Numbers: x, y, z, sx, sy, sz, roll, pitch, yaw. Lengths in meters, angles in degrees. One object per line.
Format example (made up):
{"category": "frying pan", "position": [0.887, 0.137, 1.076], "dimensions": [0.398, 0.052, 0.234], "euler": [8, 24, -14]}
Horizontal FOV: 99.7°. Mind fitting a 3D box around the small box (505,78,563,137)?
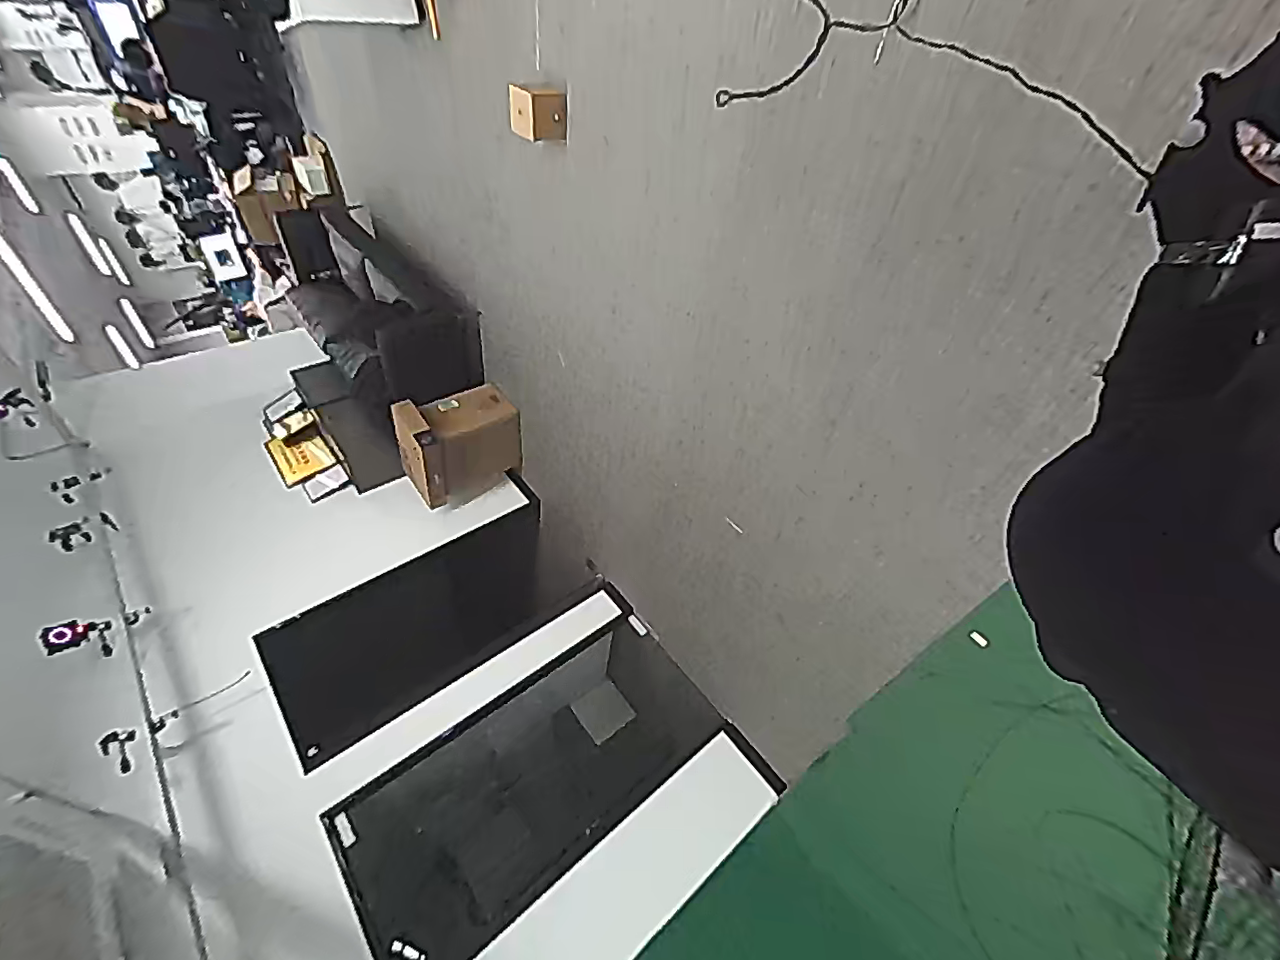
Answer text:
{"category": "small box", "position": [-0.436, -1.539, 2.230], "dimensions": [0.179, 0.176, 0.168], "euler": [43, 145, 29]}
